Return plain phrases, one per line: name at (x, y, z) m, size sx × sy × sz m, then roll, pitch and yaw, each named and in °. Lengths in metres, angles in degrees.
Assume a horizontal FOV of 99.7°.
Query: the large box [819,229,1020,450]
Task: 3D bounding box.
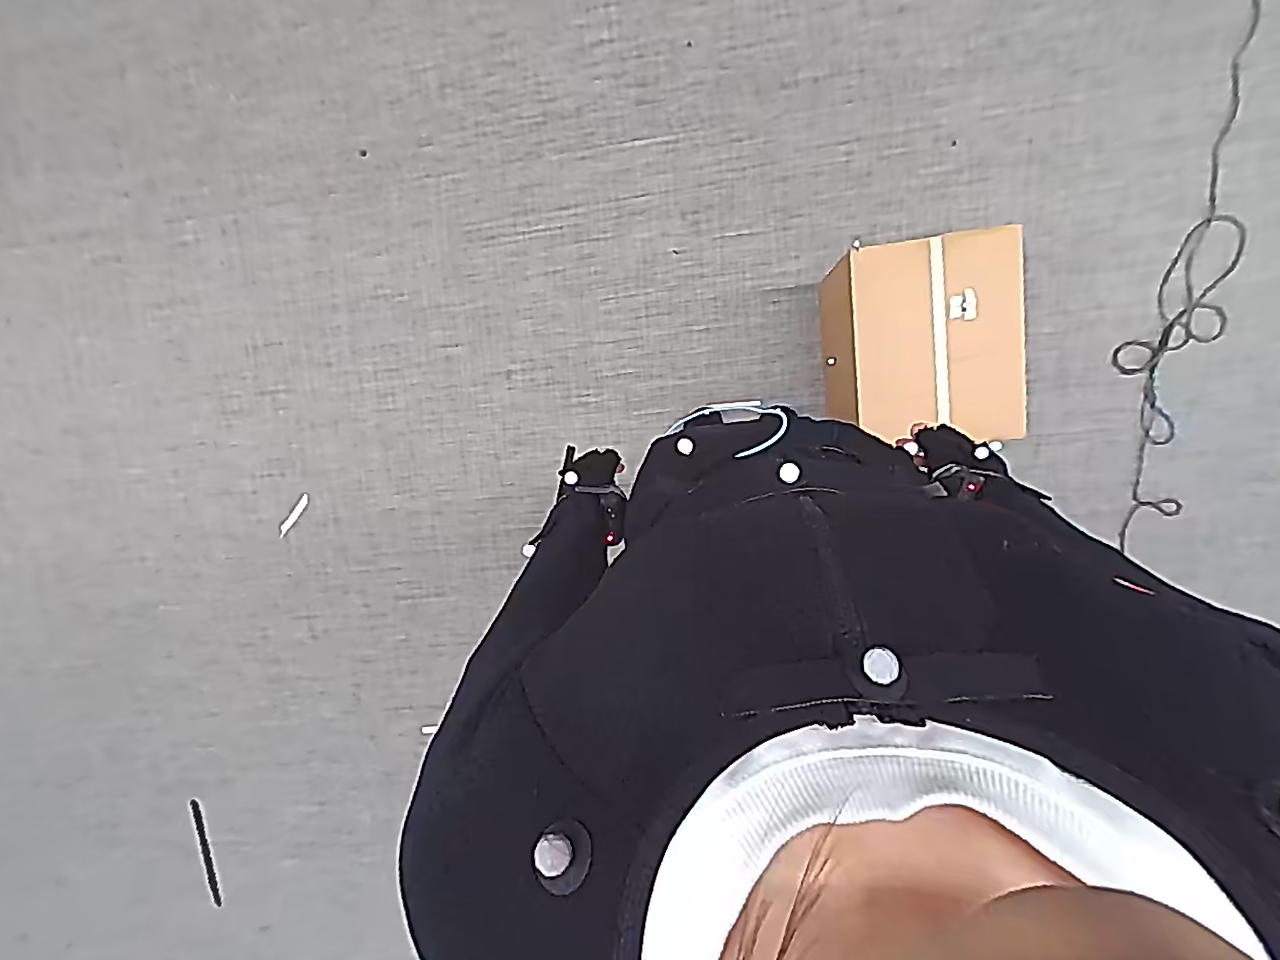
large box at (0.602, -0.289, 1.223) m, size 0.320 × 0.320 × 0.408 m, roll -5°, pitch 96°, yaw 7°
